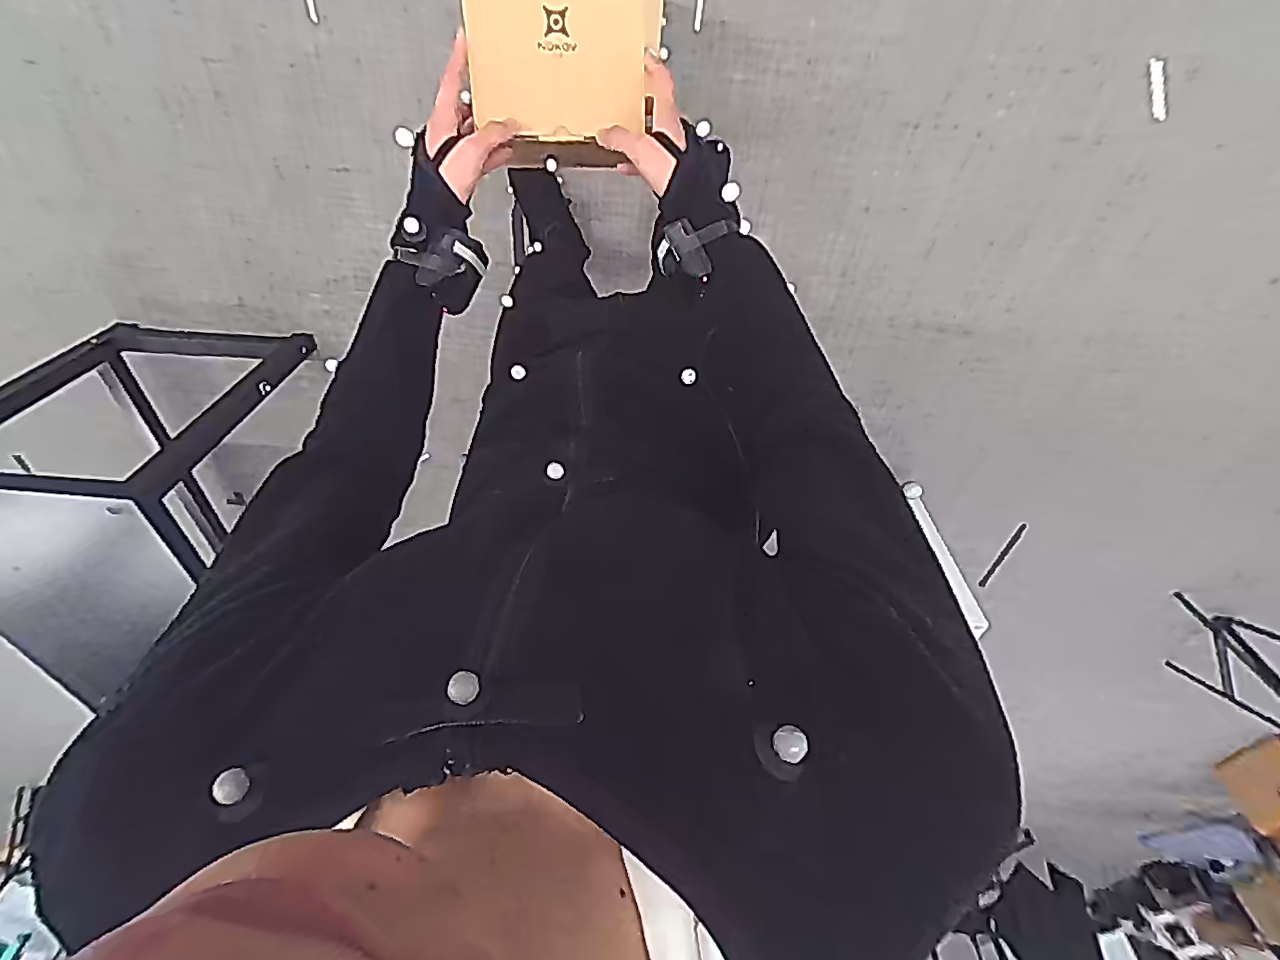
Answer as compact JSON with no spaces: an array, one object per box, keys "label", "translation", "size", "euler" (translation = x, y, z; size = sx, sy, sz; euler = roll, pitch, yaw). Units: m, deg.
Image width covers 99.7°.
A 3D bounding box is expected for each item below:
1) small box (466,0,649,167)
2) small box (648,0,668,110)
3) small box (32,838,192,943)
[{"label":"small box","translation":[-0.083,-0.439,0.561],"size":[0.168,0.176,0.179],"euler":[-3,113,-6]},{"label":"small box","translation":[-0.047,-0.762,0.946],"size":[0.179,0.176,0.168],"euler":[4,130,-3]},{"label":"small box","translation":[-1.236,0.970,1.284],"size":[0.179,0.176,0.168],"euler":[3,131,-1]}]
